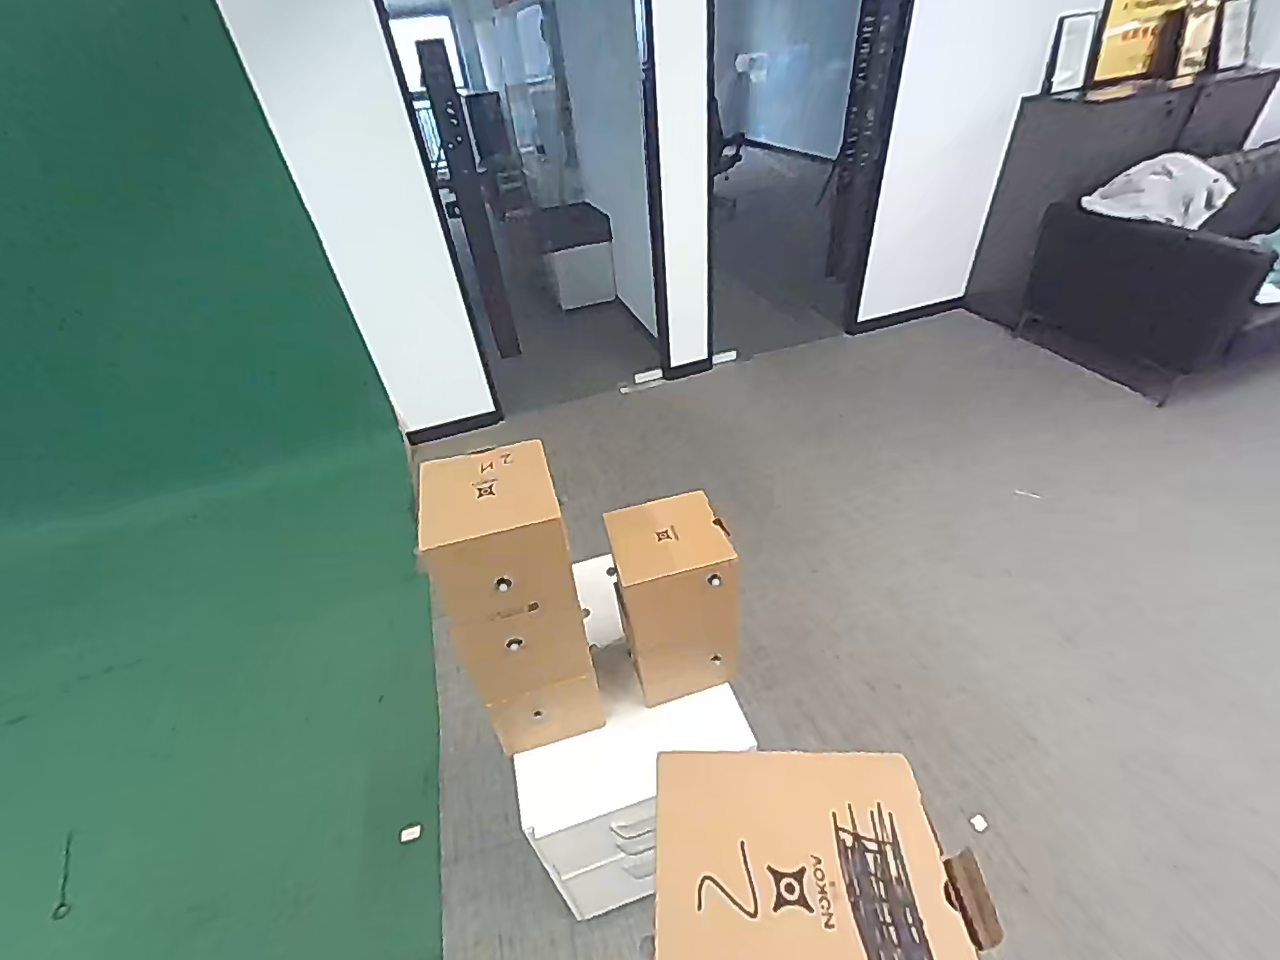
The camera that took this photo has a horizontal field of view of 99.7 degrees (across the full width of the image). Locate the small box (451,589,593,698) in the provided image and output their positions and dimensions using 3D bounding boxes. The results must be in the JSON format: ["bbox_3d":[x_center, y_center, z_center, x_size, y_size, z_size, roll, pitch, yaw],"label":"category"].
[{"bbox_3d":[-0.180,0.205,0.831,0.179,0.176,0.168,-13,40,-11],"label":"small box"}]

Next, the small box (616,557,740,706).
[{"bbox_3d":[0.068,0.274,0.978,0.179,0.176,0.168,-16,39,-9],"label":"small box"}]

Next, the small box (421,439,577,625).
[{"bbox_3d":[-0.186,0.074,0.731,0.168,0.176,0.179,-12,40,-11],"label":"small box"}]

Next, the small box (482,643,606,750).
[{"bbox_3d":[-0.167,0.334,0.932,0.179,0.176,0.168,-13,41,-10],"label":"small box"}]
